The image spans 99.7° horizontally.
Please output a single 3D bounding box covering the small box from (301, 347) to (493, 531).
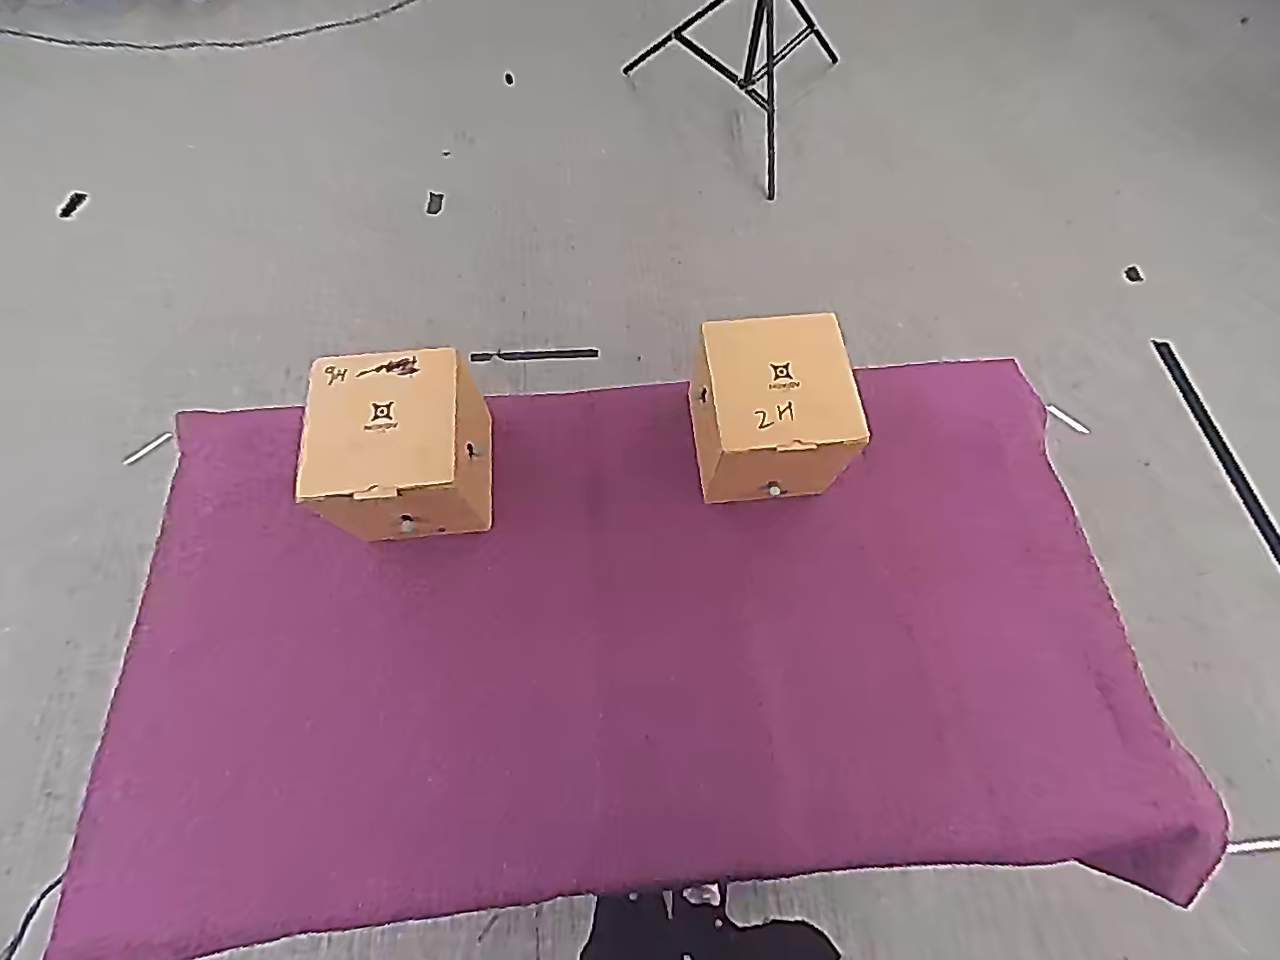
[{"bbox_3d":[-0.283,-0.039,0.671,0.168,0.176,0.179,-5,69,-3],"label":"small box"}]

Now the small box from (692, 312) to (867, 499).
[{"bbox_3d":[0.162,-0.089,0.695,0.168,0.176,0.179,-5,69,-1],"label":"small box"}]
